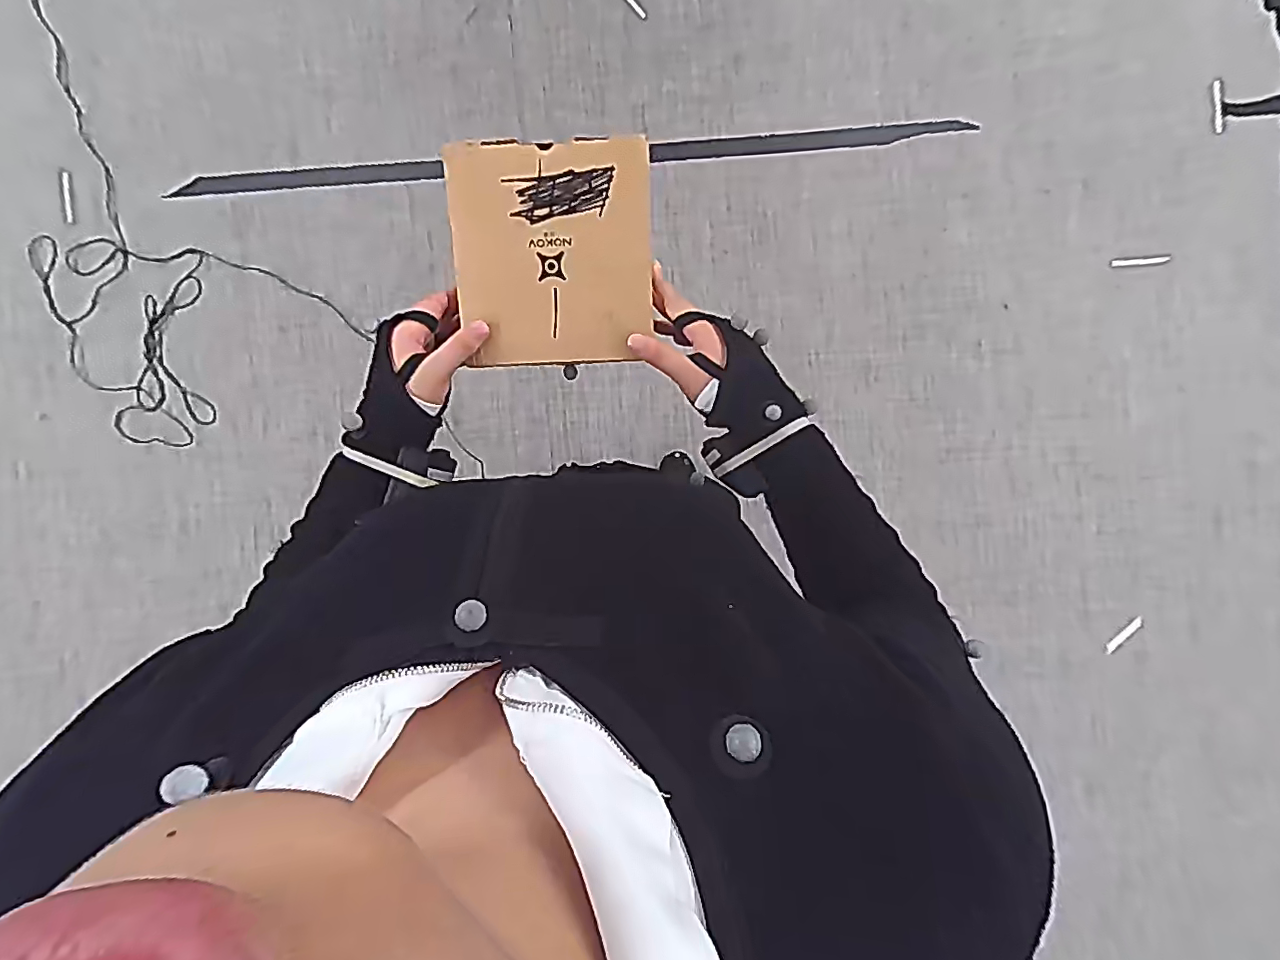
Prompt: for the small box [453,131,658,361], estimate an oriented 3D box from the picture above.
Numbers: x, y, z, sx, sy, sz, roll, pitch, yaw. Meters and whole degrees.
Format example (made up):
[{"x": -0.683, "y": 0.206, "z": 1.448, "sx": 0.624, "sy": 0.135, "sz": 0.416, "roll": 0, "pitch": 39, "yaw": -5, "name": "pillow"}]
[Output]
[{"x": -0.068, "y": -0.209, "z": 0.528, "sx": 0.168, "sy": 0.176, "sz": 0.179, "roll": -2, "pitch": 102, "yaw": 1, "name": "small box"}]
